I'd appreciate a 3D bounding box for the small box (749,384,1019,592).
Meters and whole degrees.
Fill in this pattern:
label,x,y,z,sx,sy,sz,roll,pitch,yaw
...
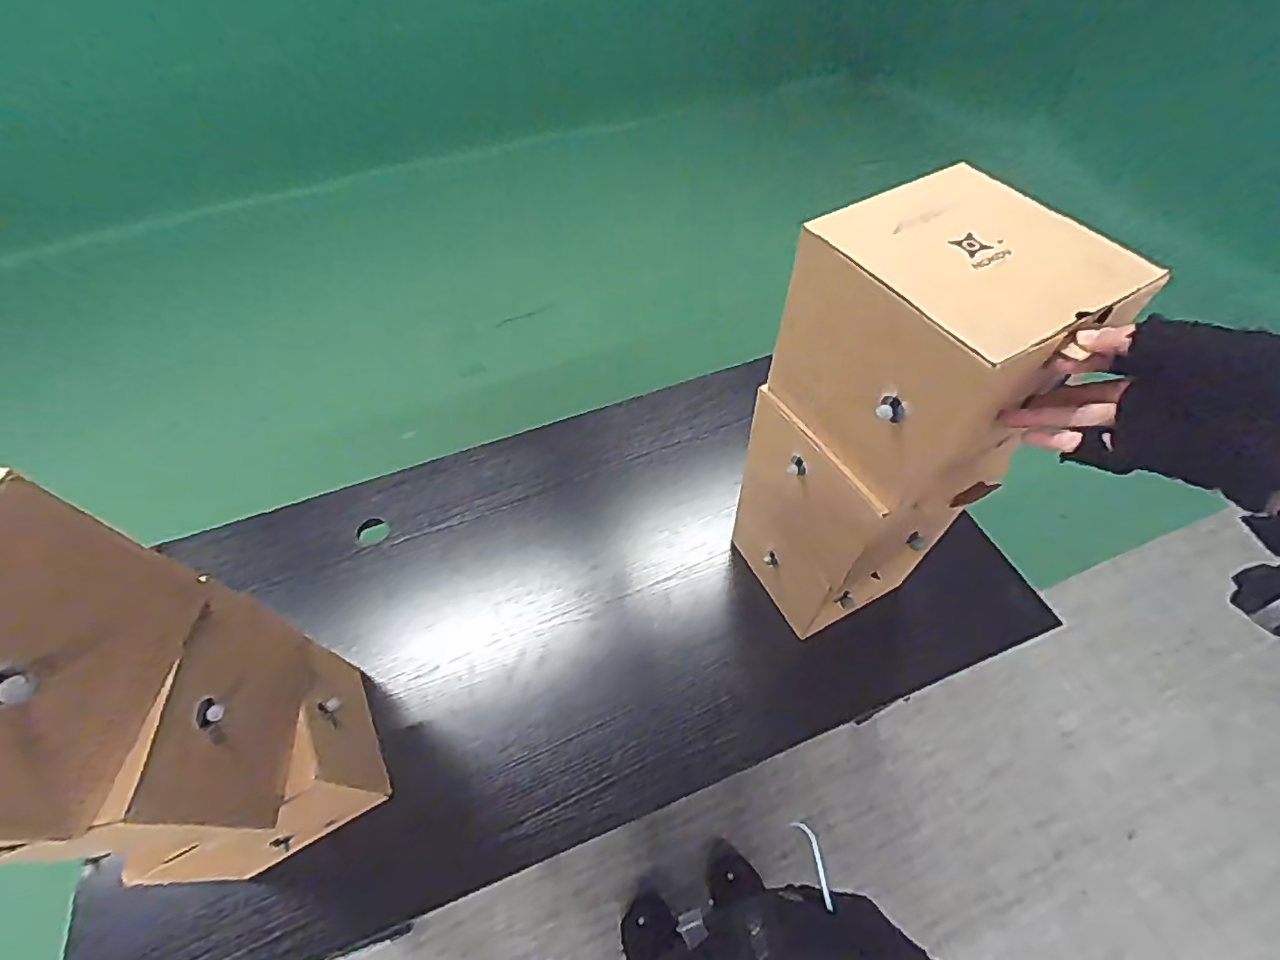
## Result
label,x,y,z,sx,sy,sz,roll,pitch,yaw
small box,0.234,-0.013,0.575,0.168,0.176,0.179,-26,58,-14

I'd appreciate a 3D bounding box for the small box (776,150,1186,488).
label,x,y,z,sx,sy,sz,roll,pitch,yaw
small box,0.233,-0.116,0.426,0.168,0.176,0.179,-27,58,-15

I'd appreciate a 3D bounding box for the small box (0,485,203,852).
label,x,y,z,sx,sy,sz,roll,pitch,yaw
small box,-0.425,0.117,0.325,0.168,0.176,0.179,1,57,2

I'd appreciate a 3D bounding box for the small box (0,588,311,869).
label,x,y,z,sx,sy,sz,roll,pitch,yaw
small box,-0.414,0.214,0.458,0.168,0.176,0.179,-8,55,-3

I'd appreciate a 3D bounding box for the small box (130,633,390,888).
label,x,y,z,sx,sy,sz,roll,pitch,yaw
small box,-0.404,0.305,0.594,0.168,0.176,0.179,-26,59,-15
